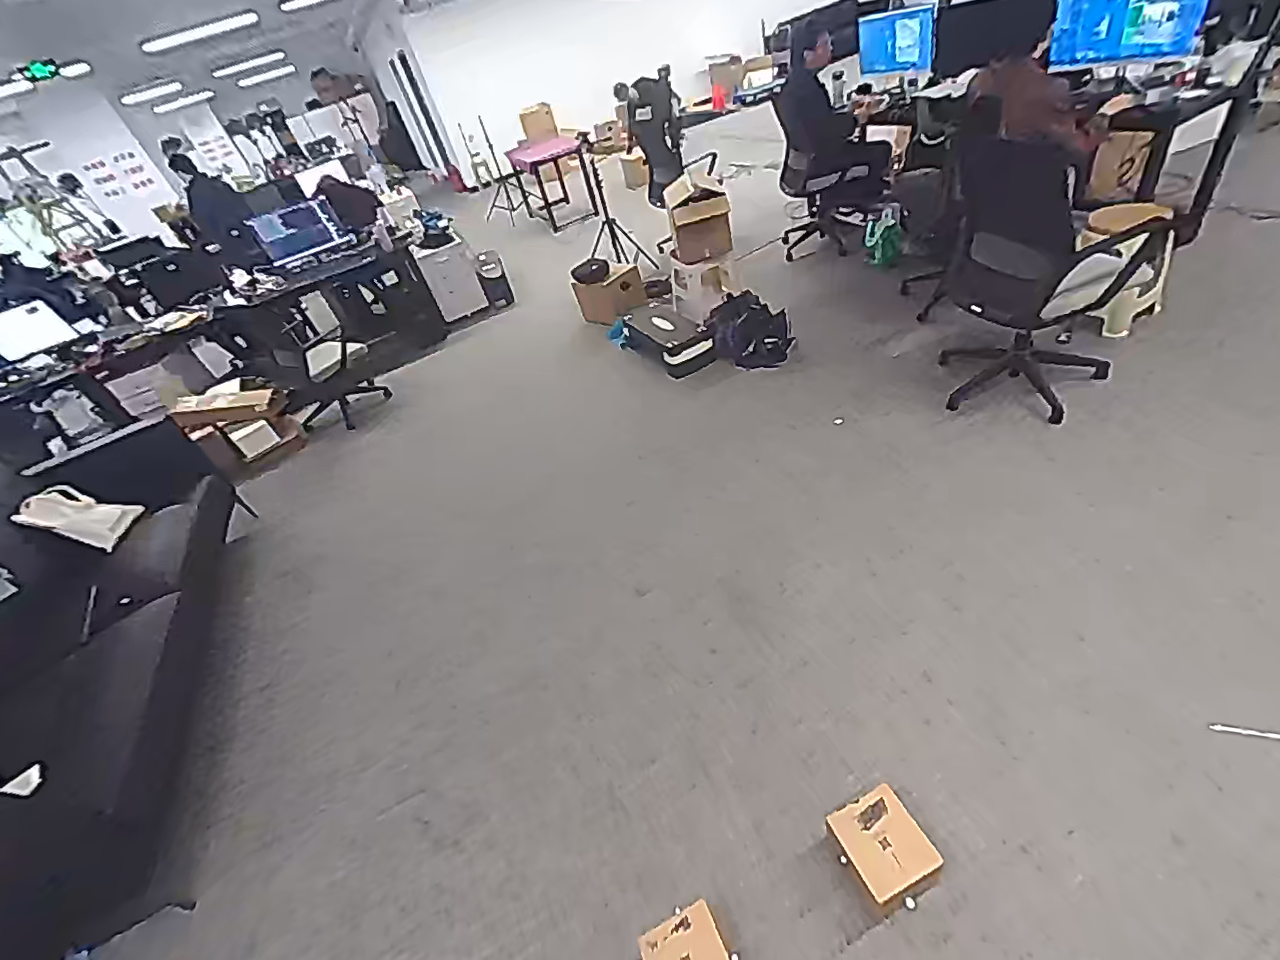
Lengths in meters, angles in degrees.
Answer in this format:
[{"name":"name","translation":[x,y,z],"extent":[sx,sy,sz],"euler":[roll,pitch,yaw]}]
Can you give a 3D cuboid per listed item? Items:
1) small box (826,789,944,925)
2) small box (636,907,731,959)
[{"name":"small box","translation":[0.537,0.842,1.207],"extent":[0.168,0.176,0.179],"euler":[-26,40,-8]},{"name":"small box","translation":[0.114,1.049,1.129],"extent":[0.168,0.176,0.179],"euler":[-25,39,-9]}]
